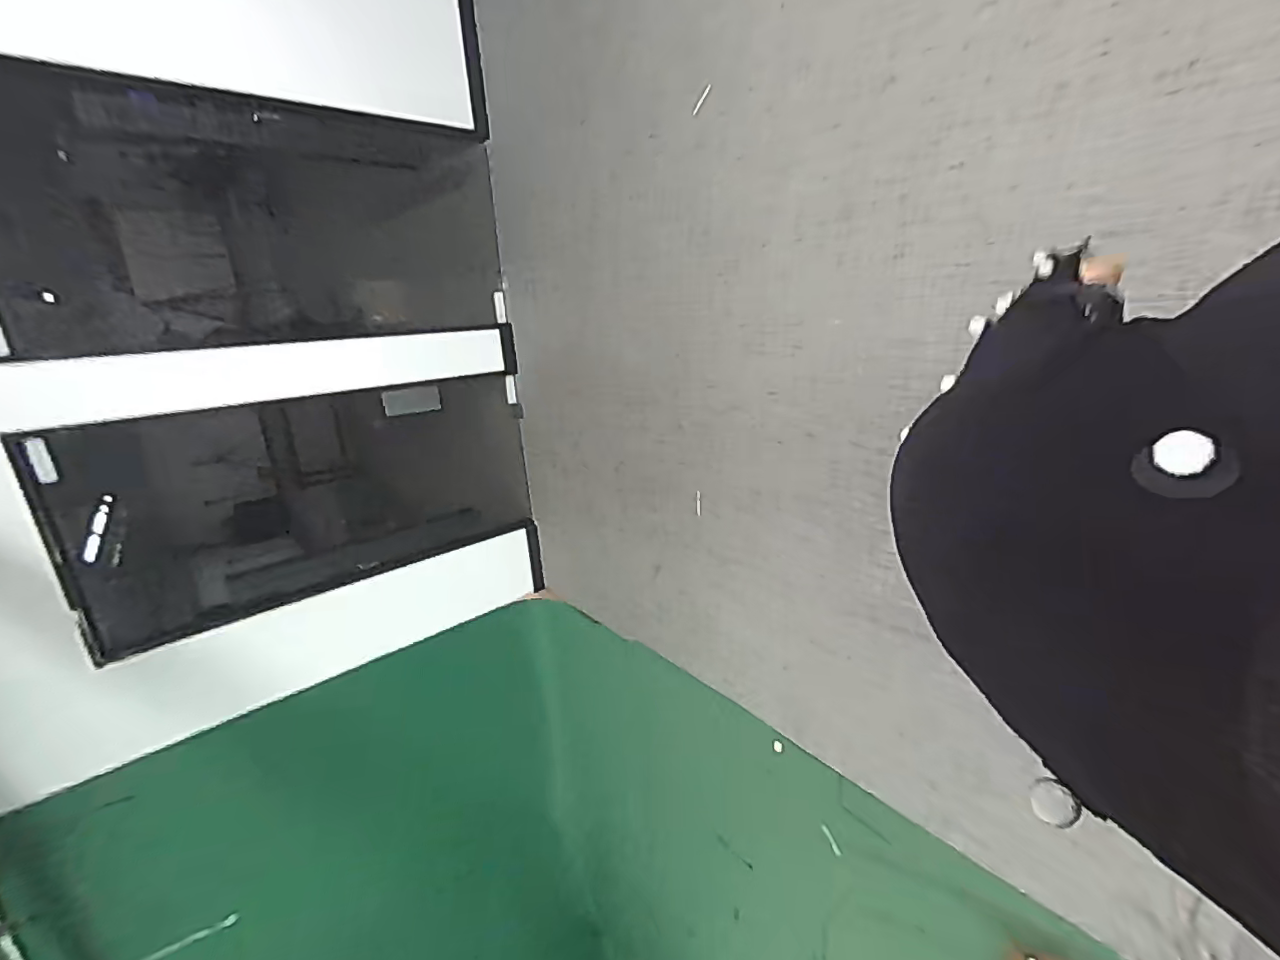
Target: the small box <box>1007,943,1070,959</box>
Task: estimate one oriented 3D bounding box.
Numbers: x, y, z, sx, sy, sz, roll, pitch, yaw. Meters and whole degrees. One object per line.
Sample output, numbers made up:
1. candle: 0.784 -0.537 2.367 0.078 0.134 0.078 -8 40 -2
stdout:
1. small box: 1.136 1.446 1.492 0.168 0.176 0.179 -42 70 50
